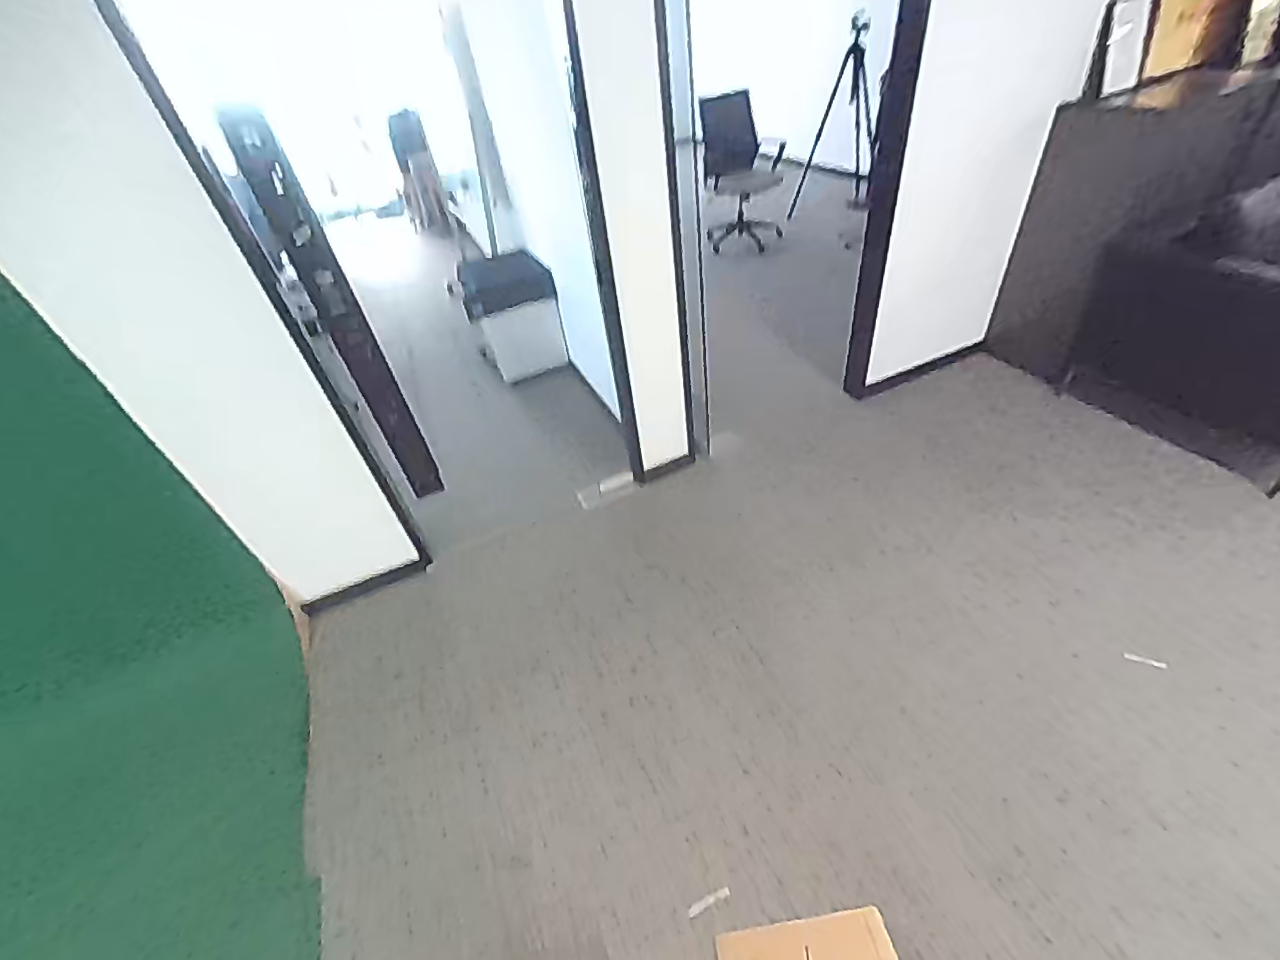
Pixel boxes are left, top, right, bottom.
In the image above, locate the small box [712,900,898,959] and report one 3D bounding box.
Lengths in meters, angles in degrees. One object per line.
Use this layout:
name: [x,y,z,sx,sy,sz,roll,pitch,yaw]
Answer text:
small box: [0.167,0.534,0.499,0.168,0.176,0.179,-9,33,-1]
